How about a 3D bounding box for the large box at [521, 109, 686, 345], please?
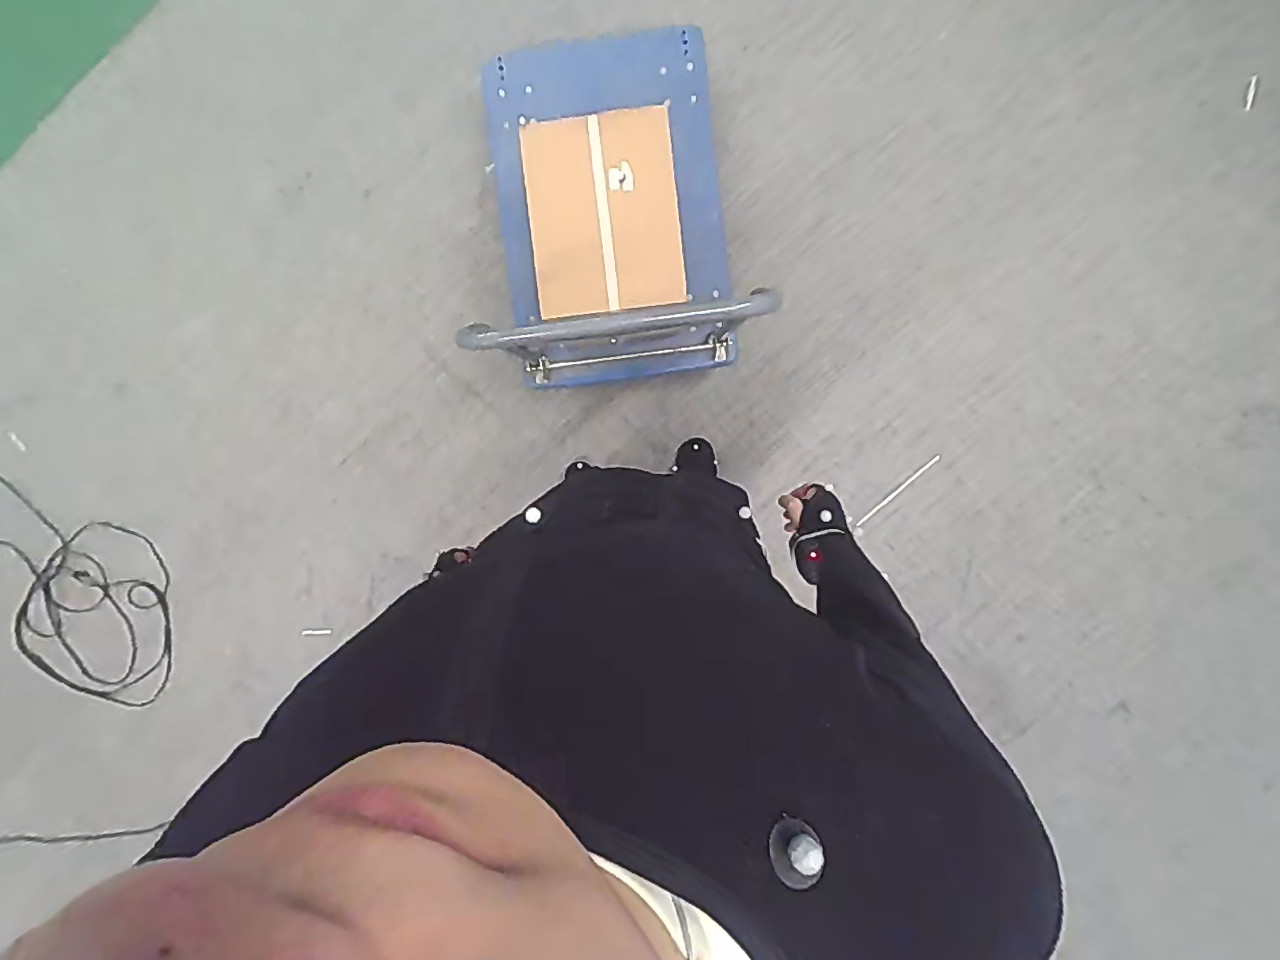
[{"bbox_3d":[-0.070,-0.568,1.291,0.320,0.320,0.408,-6,93,2],"label":"large box"}]
